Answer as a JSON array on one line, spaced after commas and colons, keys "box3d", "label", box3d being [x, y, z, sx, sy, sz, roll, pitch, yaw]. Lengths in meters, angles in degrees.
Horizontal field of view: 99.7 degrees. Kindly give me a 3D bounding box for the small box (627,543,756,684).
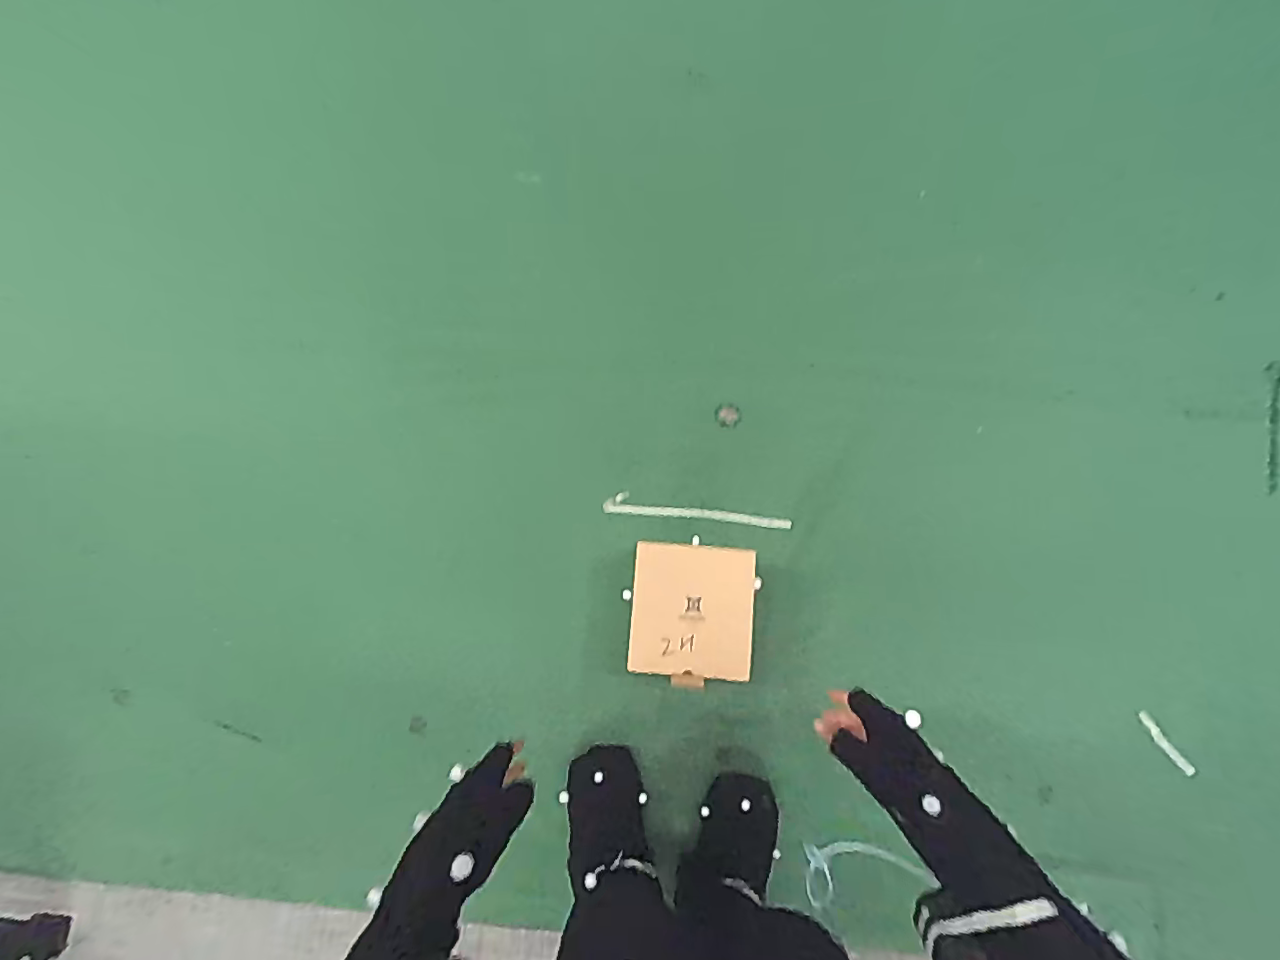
[{"box3d": [0.072, 0.192, 0.811, 0.168, 0.176, 0.179, 5, 81, 2], "label": "small box"}]
